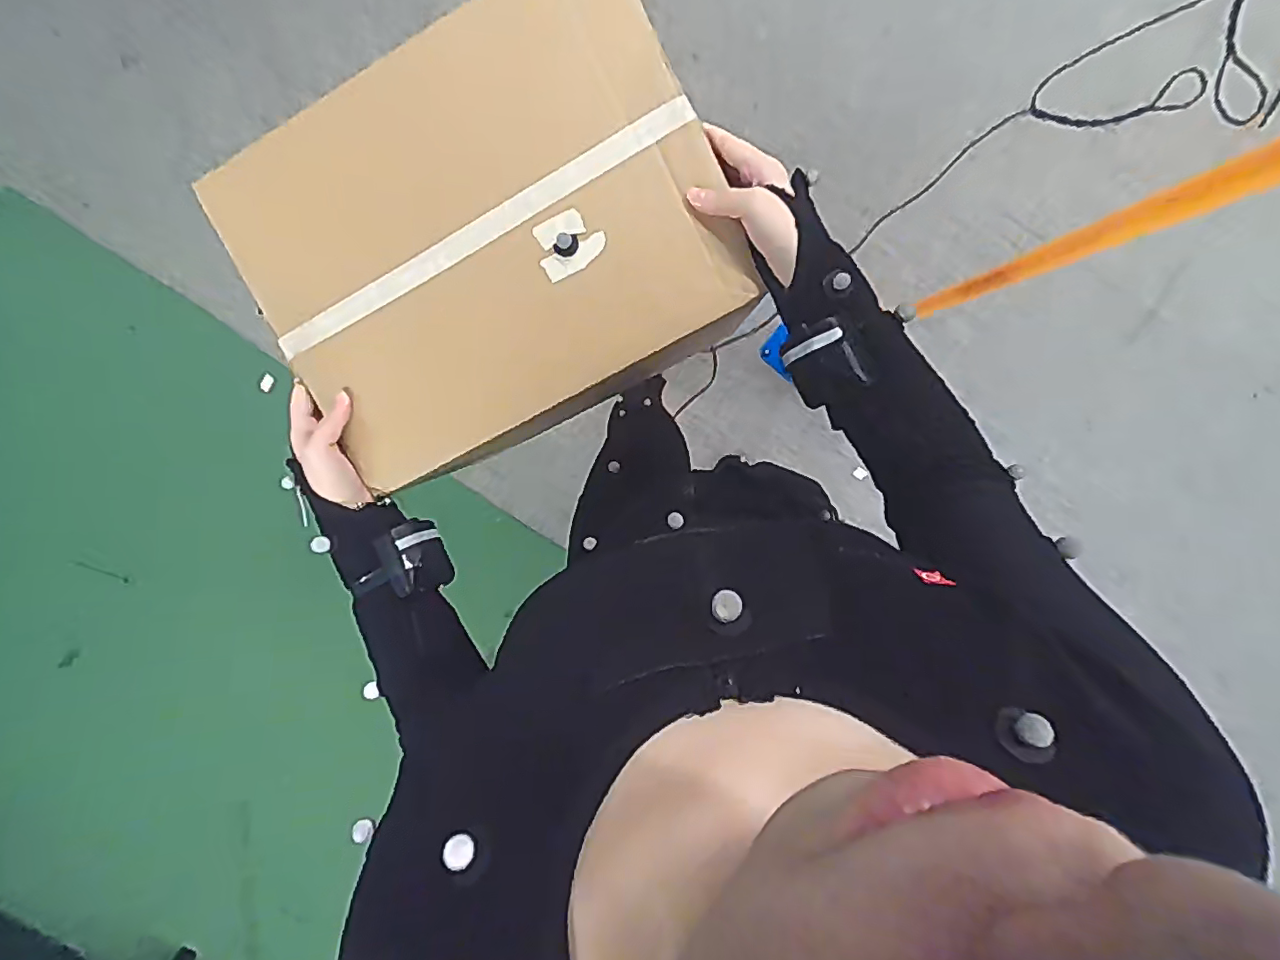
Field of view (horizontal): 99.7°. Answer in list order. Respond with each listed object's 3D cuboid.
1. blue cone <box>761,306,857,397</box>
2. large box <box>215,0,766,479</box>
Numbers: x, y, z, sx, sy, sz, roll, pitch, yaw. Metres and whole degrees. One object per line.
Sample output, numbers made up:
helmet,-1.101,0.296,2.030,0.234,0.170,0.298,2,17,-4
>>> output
blue cone,0.422,-0.304,1.237,0.193,0.380,0.192,41,101,-2
large box,-0.127,-0.241,0.614,0.408,0.320,0.320,-27,97,6
